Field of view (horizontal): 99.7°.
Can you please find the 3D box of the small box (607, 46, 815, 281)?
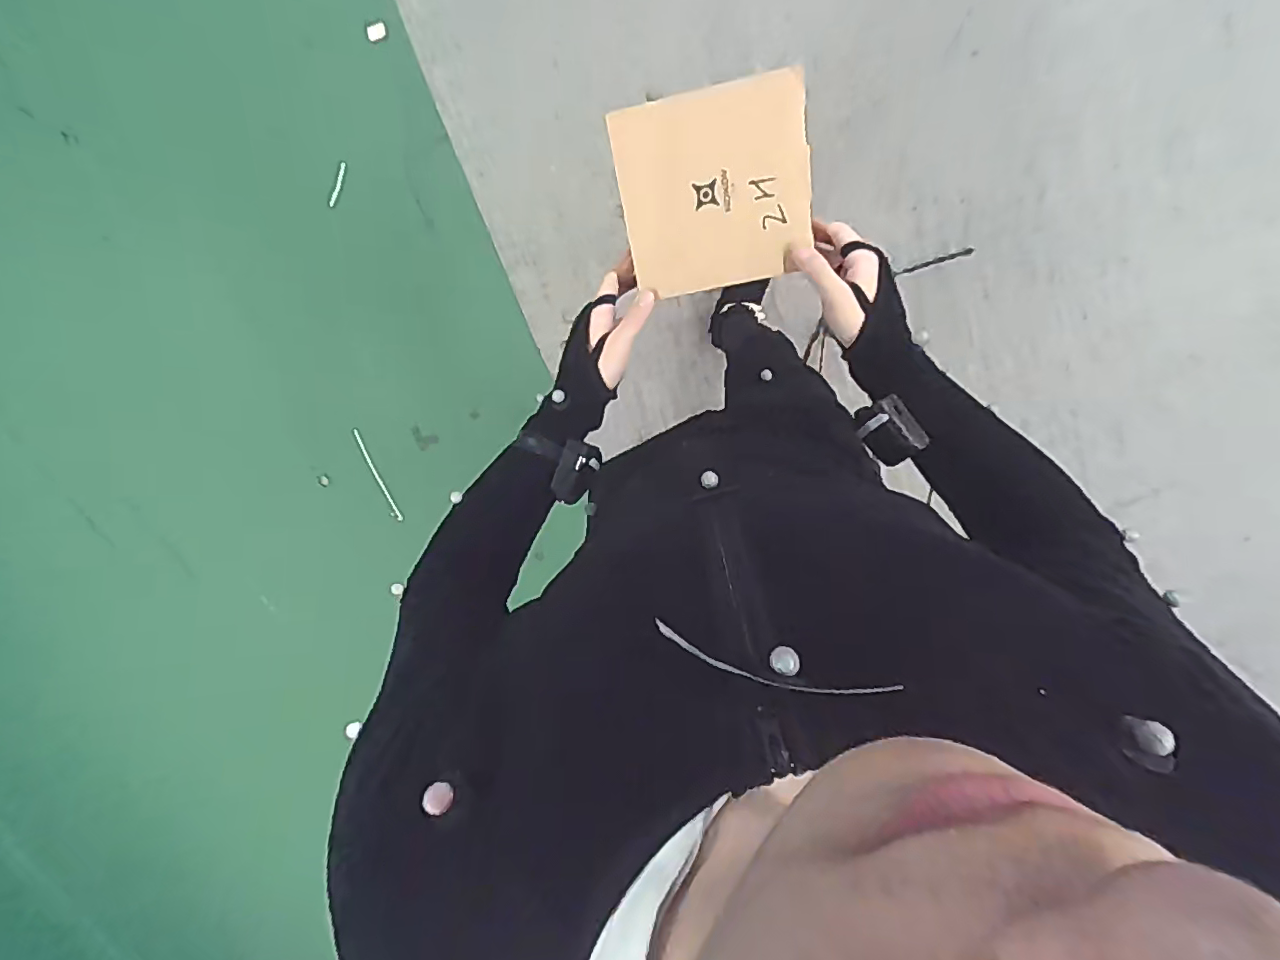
[{"bbox_3d":[0.074,-0.315,0.570,0.179,0.176,0.168,-9,115,7],"label":"small box"}]
